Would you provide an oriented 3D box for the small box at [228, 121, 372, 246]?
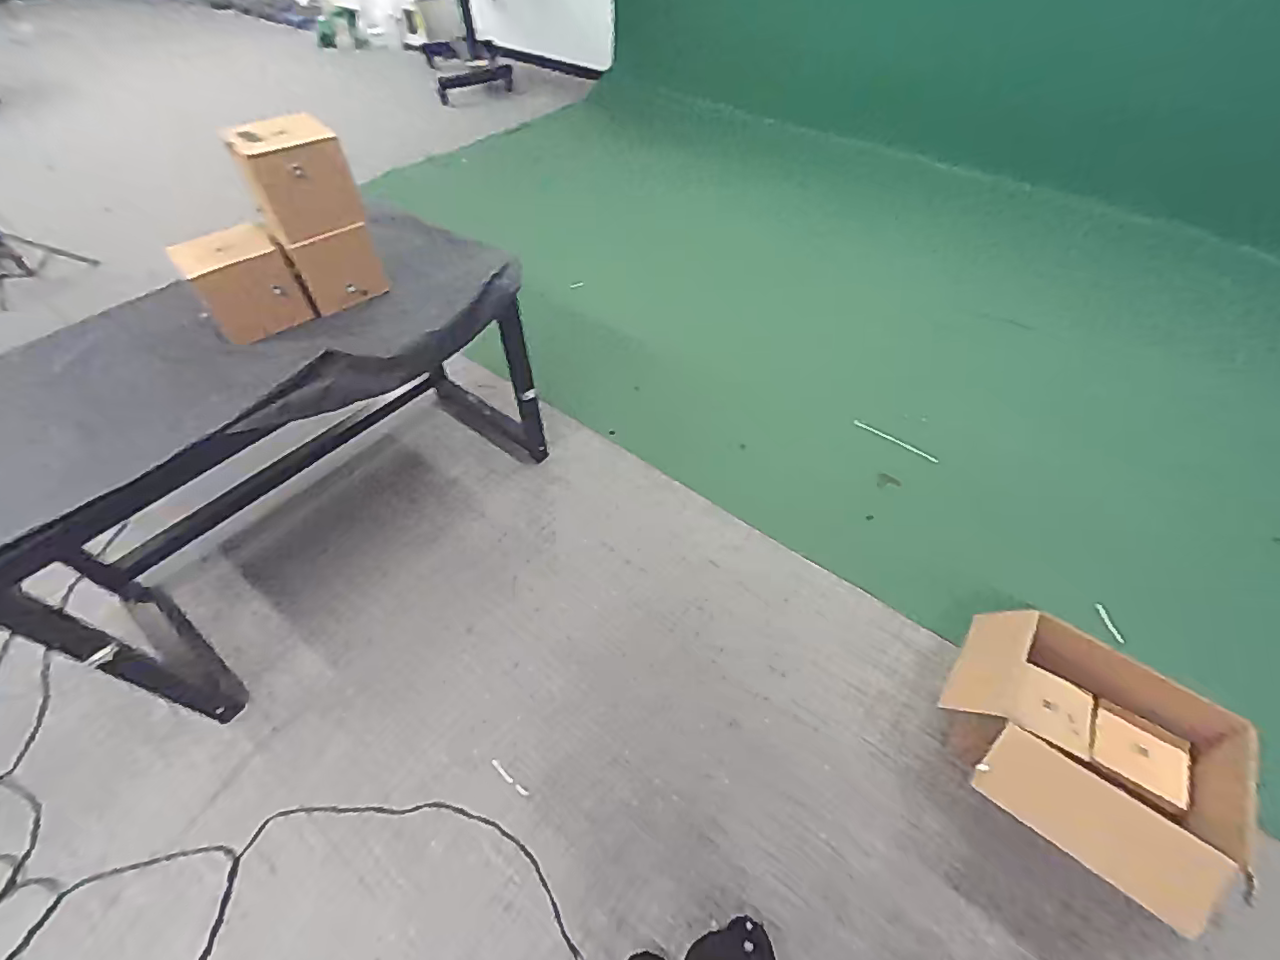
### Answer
[{"bbox_3d":[-0.706,-0.620,1.138,0.179,0.176,0.168,-34,59,-25],"label":"small box"}]
